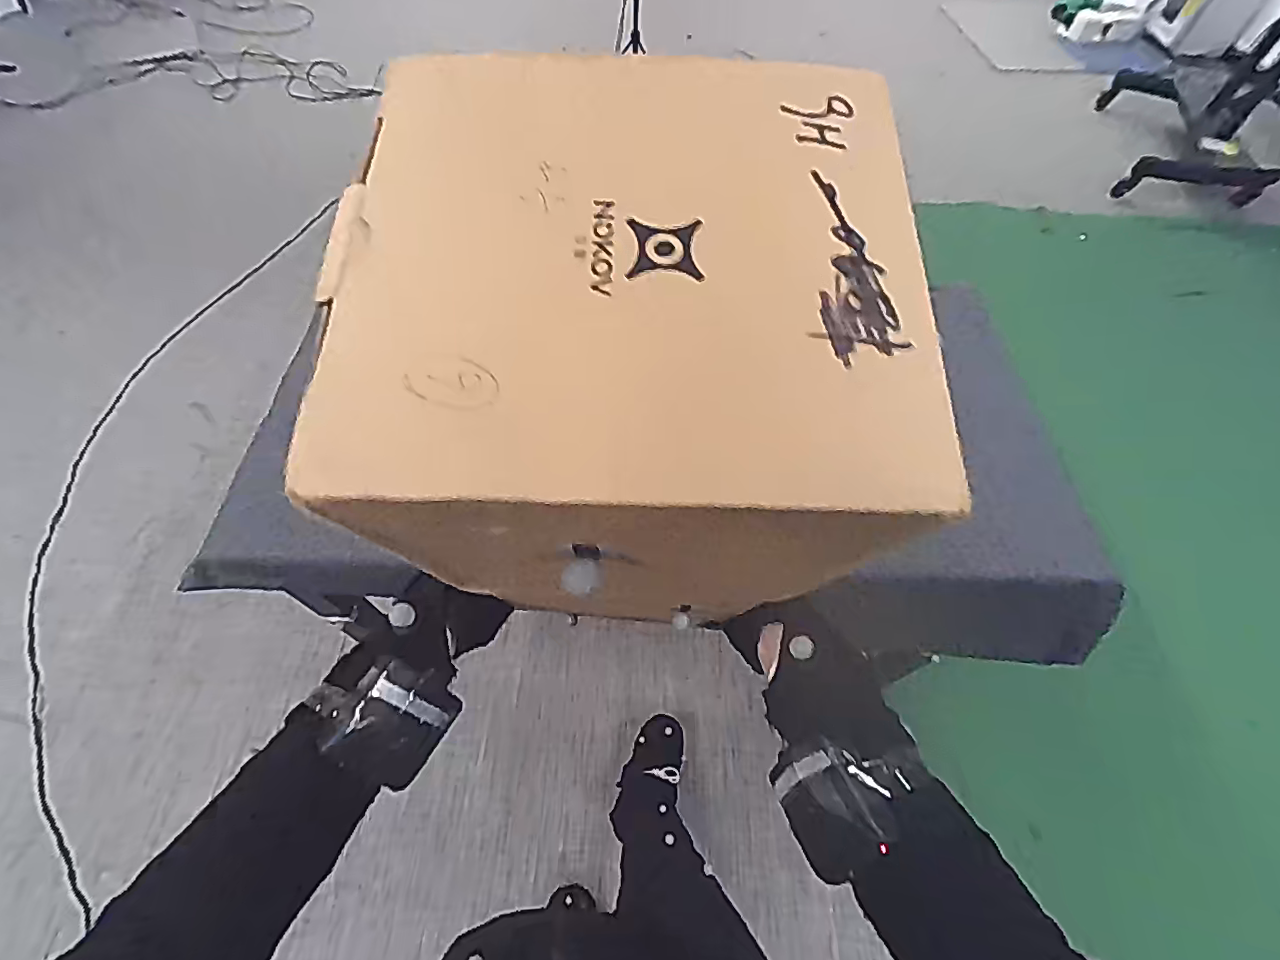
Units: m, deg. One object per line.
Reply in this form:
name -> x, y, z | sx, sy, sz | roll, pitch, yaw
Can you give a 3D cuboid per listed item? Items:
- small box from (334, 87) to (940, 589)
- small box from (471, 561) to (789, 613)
small box -> -0.003, -0.045, 0.256 | 0.179, 0.176, 0.168 | -1, 69, -3
small box -> -0.008, 0.003, 0.393 | 0.179, 0.176, 0.168 | 0, 71, -2
